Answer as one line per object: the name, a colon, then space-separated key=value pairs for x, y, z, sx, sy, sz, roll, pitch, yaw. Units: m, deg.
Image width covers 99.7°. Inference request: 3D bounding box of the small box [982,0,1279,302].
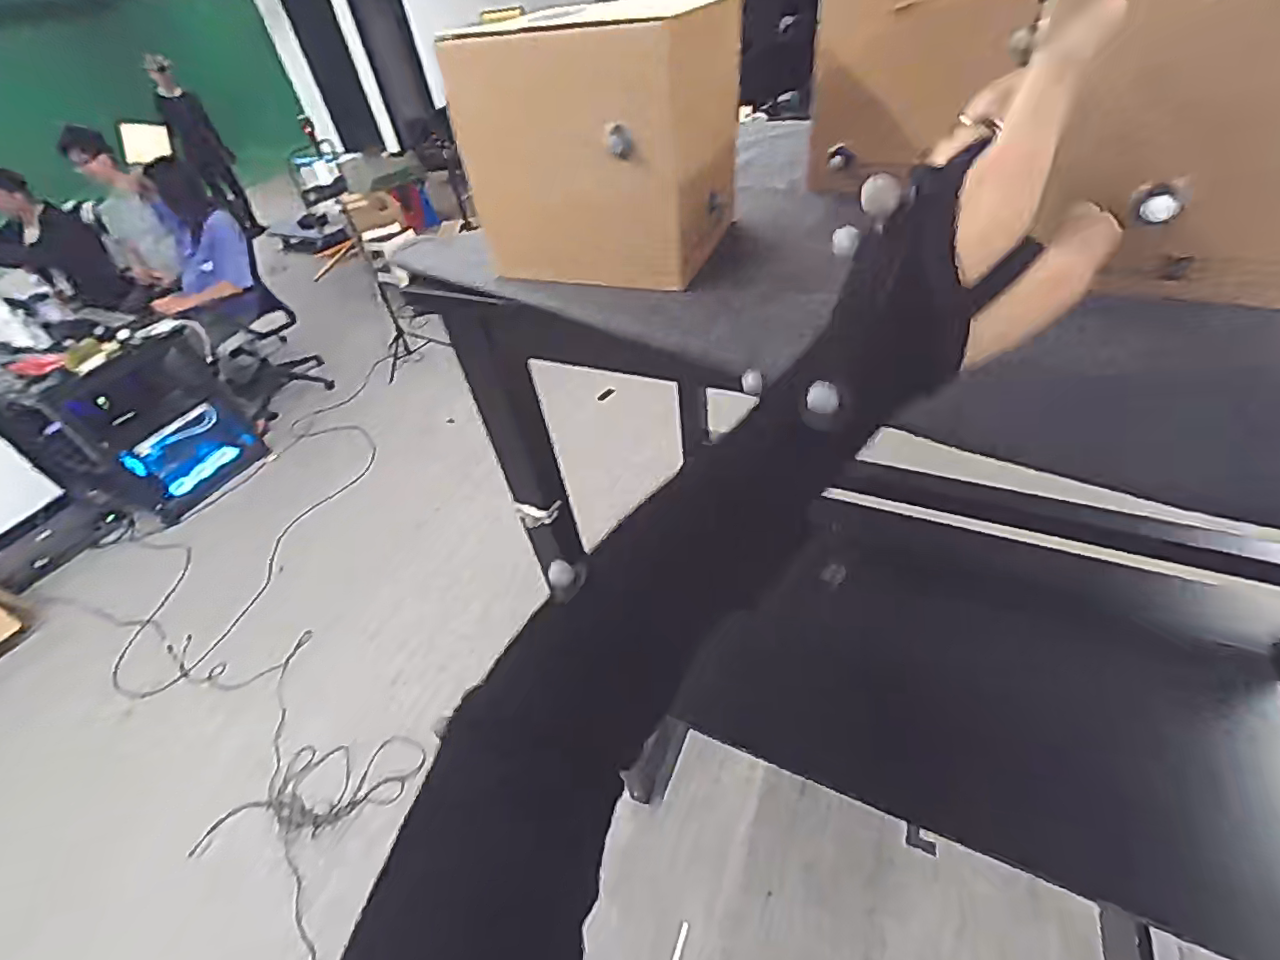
small box: x=0.336 y=-0.233 z=0.339 sx=0.168 sy=0.176 sz=0.179 roll=16 pitch=47 yaw=25
